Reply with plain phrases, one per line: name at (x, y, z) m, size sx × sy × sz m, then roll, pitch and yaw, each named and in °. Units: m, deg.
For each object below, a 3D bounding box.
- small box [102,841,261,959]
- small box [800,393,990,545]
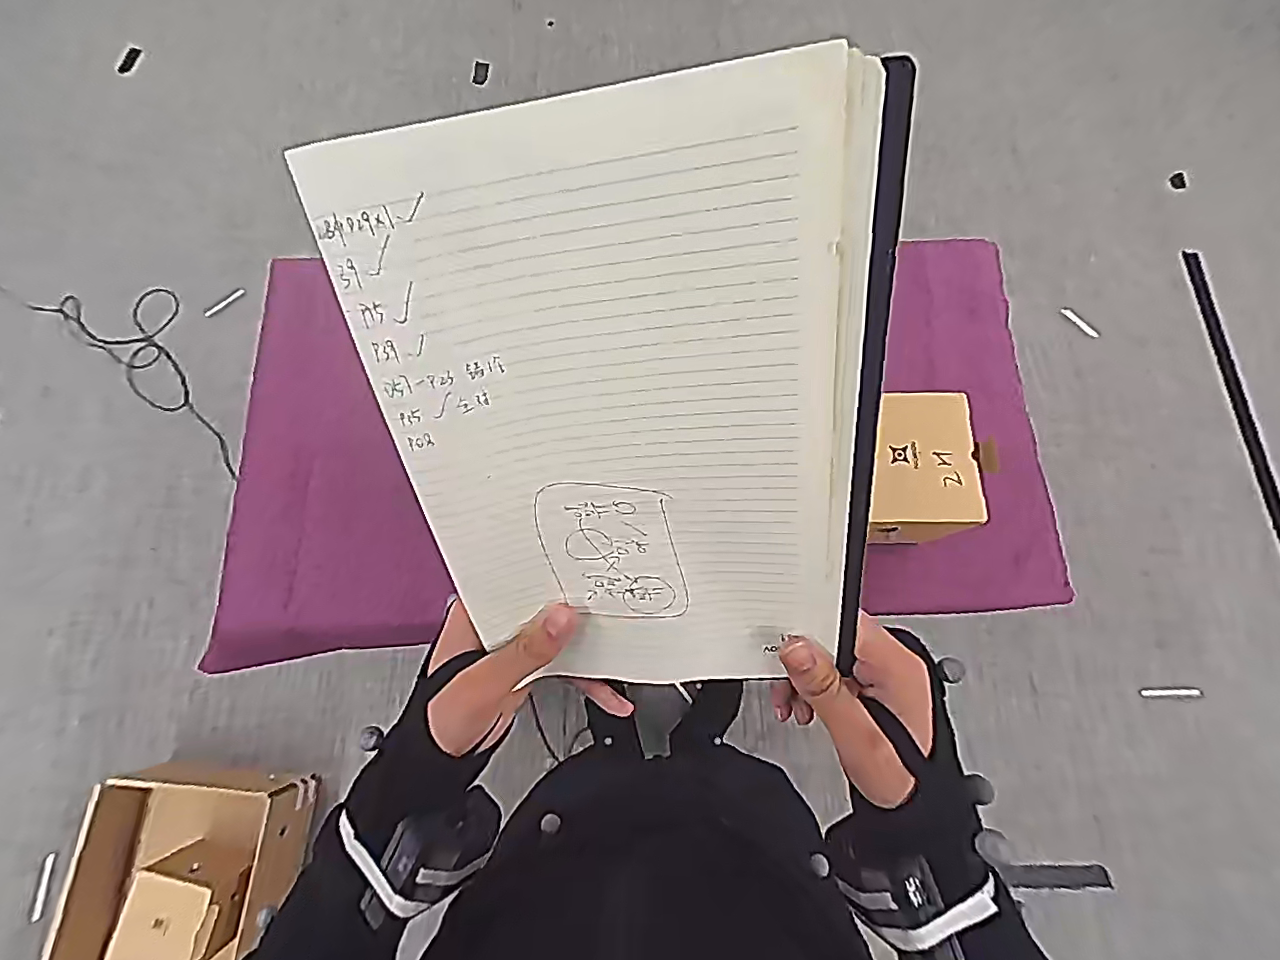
small box at (-0.988, 0.927, 1.185) m, size 0.179 × 0.176 × 0.168 m, roll 13°, pitch 76°, yaw 3°
small box at (0.320, -0.006, 0.723) m, size 0.179 × 0.176 × 0.168 m, roll 0°, pitch 75°, yaw 0°
